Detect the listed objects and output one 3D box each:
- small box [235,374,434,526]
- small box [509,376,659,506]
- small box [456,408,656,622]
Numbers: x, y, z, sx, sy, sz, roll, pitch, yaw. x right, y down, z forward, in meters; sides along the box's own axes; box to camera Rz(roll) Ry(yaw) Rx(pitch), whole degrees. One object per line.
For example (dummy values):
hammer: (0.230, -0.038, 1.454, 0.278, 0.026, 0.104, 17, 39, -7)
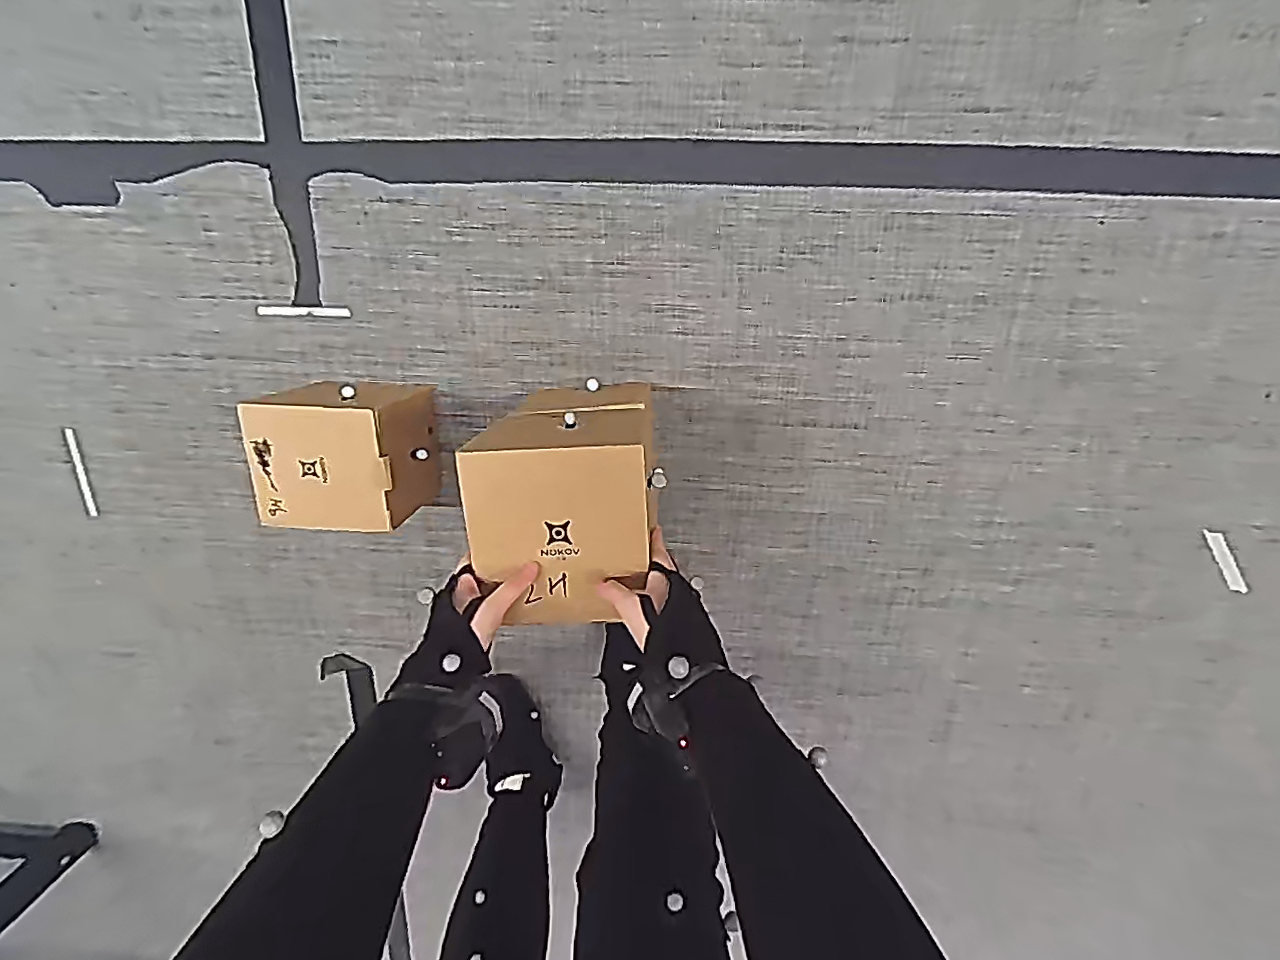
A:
small box: (-0.398, -0.049, 0.743, 0.179, 0.176, 0.168, 3, 110, 1)
small box: (-0.062, -0.037, 0.730, 0.168, 0.176, 0.179, -3, 108, 4)
small box: (-0.069, 0.024, 0.550, 0.168, 0.176, 0.179, -1, 109, 3)
